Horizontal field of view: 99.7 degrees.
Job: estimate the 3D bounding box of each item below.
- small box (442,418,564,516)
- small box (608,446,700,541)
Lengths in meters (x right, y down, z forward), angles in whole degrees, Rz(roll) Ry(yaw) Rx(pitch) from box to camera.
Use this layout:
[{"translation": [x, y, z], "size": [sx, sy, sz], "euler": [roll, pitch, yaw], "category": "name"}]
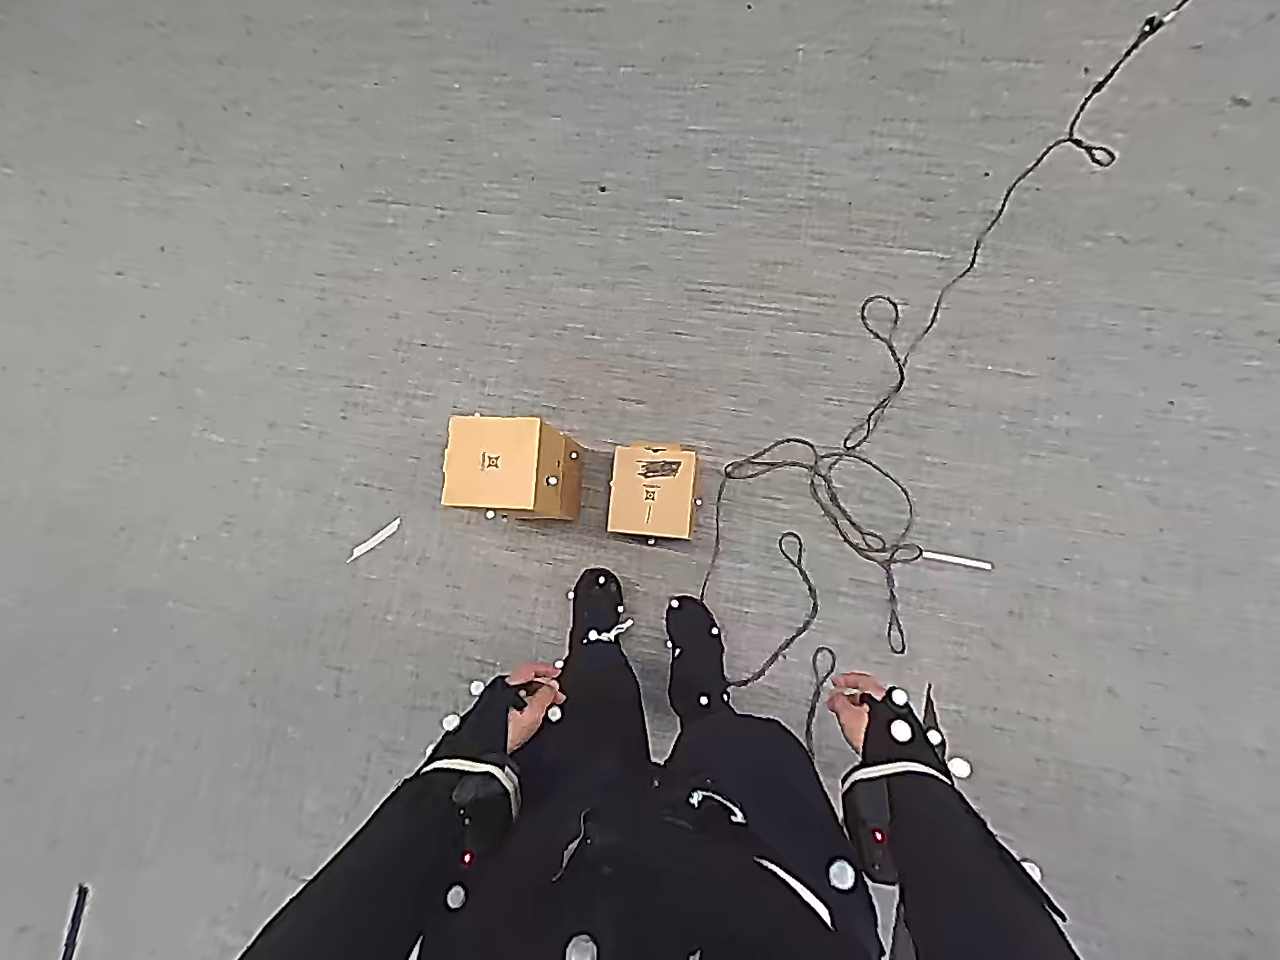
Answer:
[{"translation": [-0.251, -0.019, 1.032], "size": [0.179, 0.176, 0.168], "euler": [1, 83, 9], "category": "small box"}, {"translation": [0.037, 0.034, 1.148], "size": [0.168, 0.176, 0.179], "euler": [5, 84, 10], "category": "small box"}]
